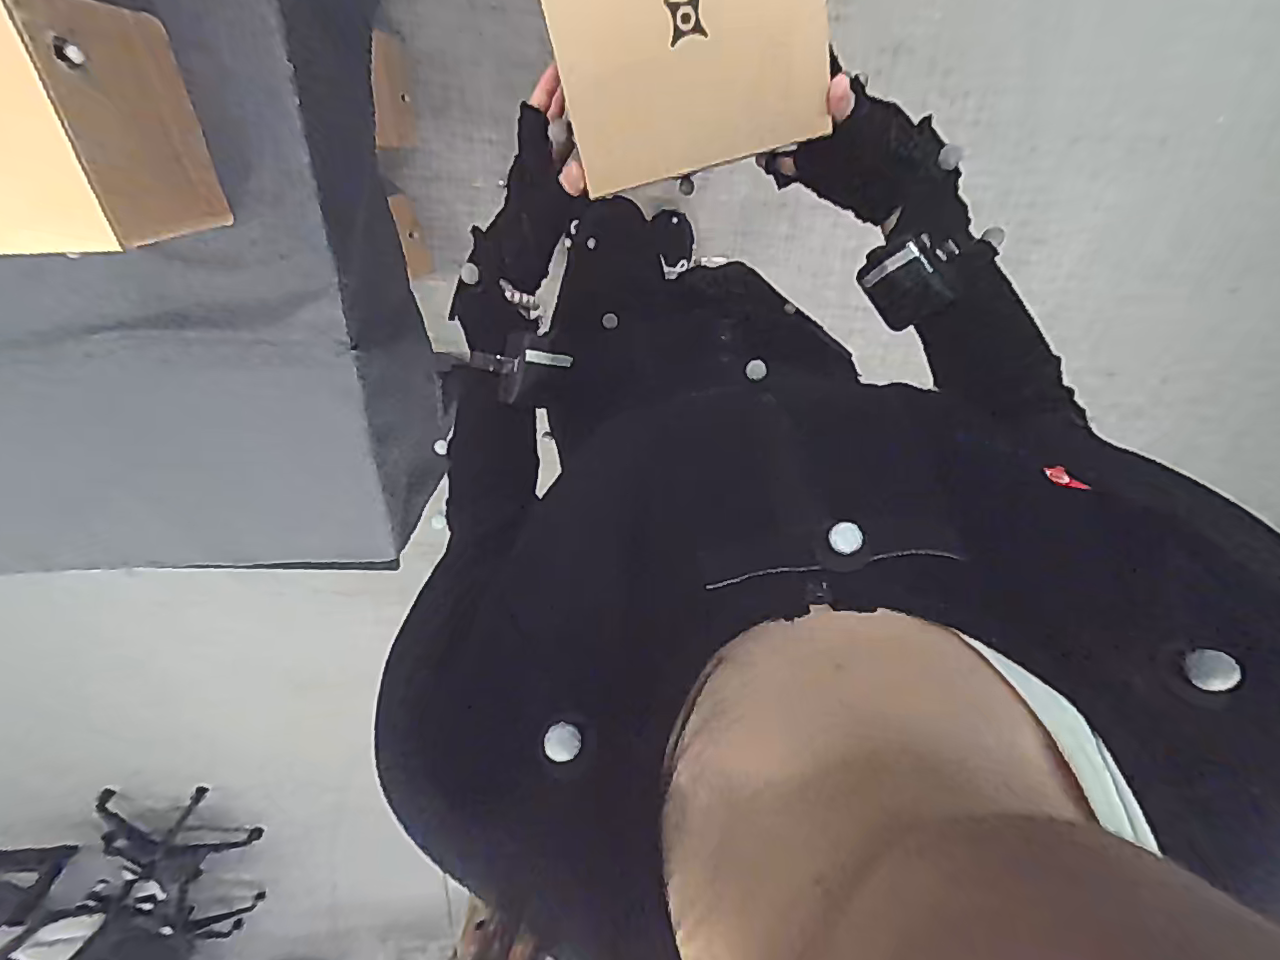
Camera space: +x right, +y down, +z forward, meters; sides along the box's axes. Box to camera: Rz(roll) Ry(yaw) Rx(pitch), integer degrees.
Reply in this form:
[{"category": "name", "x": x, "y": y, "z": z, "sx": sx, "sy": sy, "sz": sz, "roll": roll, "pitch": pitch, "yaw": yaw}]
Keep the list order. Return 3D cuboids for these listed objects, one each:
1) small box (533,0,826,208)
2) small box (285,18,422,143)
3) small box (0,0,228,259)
[{"category": "small box", "x": 0.020, "y": -0.312, "z": 0.387, "sx": 0.168, "sy": 0.176, "sz": 0.179, "roll": -14, "pitch": 118, "yaw": 4}, {"category": "small box", "x": -0.536, "y": -0.755, "z": 1.038, "sx": 0.168, "sy": 0.176, "sz": 0.179, "roll": 0, "pitch": 124, "yaw": -4}, {"category": "small box", "x": -0.513, "y": -0.301, "z": 0.469, "sx": 0.168, "sy": 0.176, "sz": 0.179, "roll": -2, "pitch": 122, "yaw": -2}]
